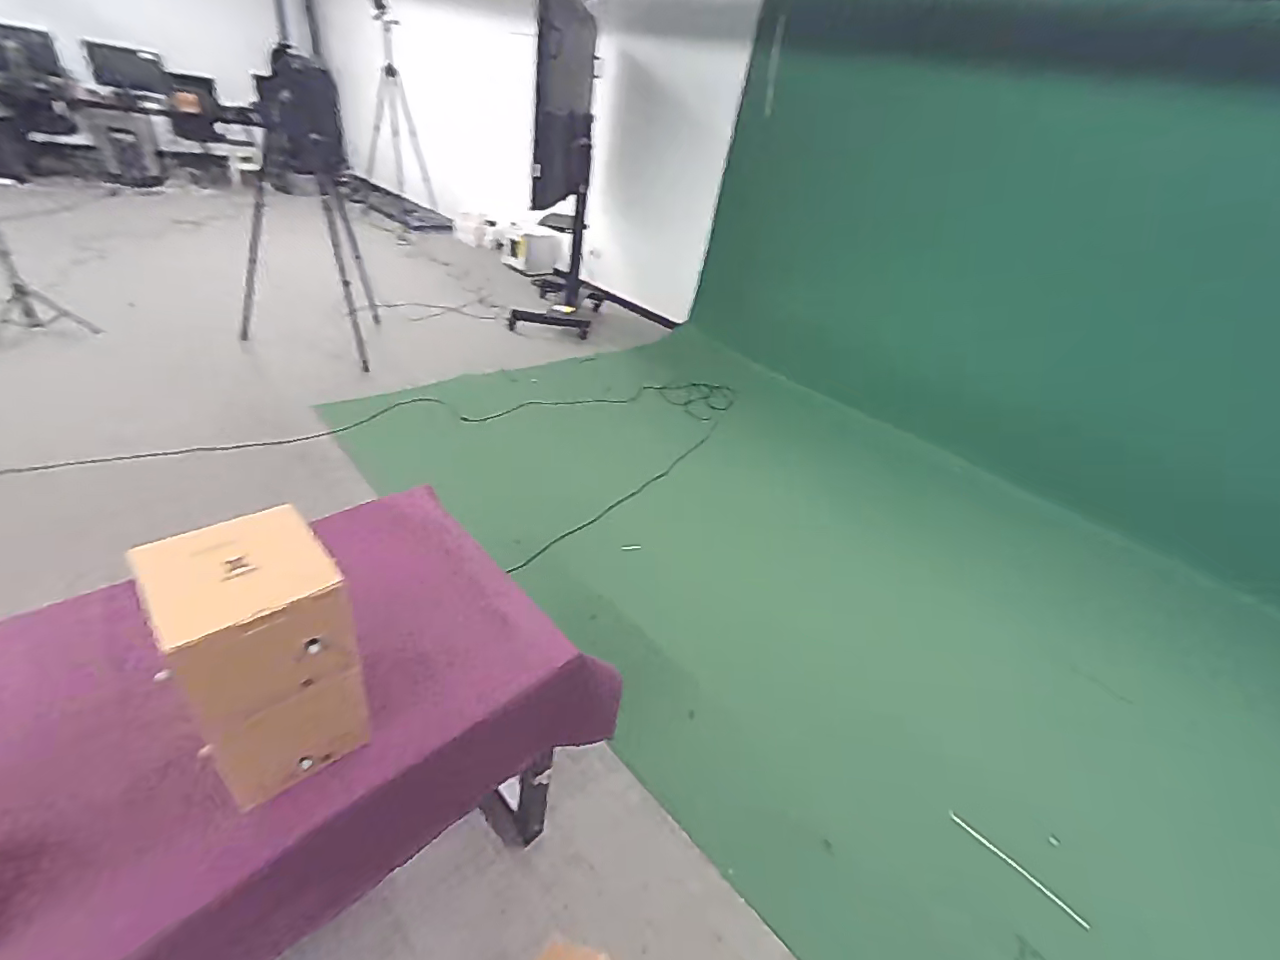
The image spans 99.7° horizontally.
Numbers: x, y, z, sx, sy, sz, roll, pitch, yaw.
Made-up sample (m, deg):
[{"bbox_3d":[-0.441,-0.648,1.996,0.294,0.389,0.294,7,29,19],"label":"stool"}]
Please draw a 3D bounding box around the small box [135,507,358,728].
[{"bbox_3d":[-0.466,0.167,0.658,0.168,0.176,0.179,-22,46,-41],"label":"small box"}]
